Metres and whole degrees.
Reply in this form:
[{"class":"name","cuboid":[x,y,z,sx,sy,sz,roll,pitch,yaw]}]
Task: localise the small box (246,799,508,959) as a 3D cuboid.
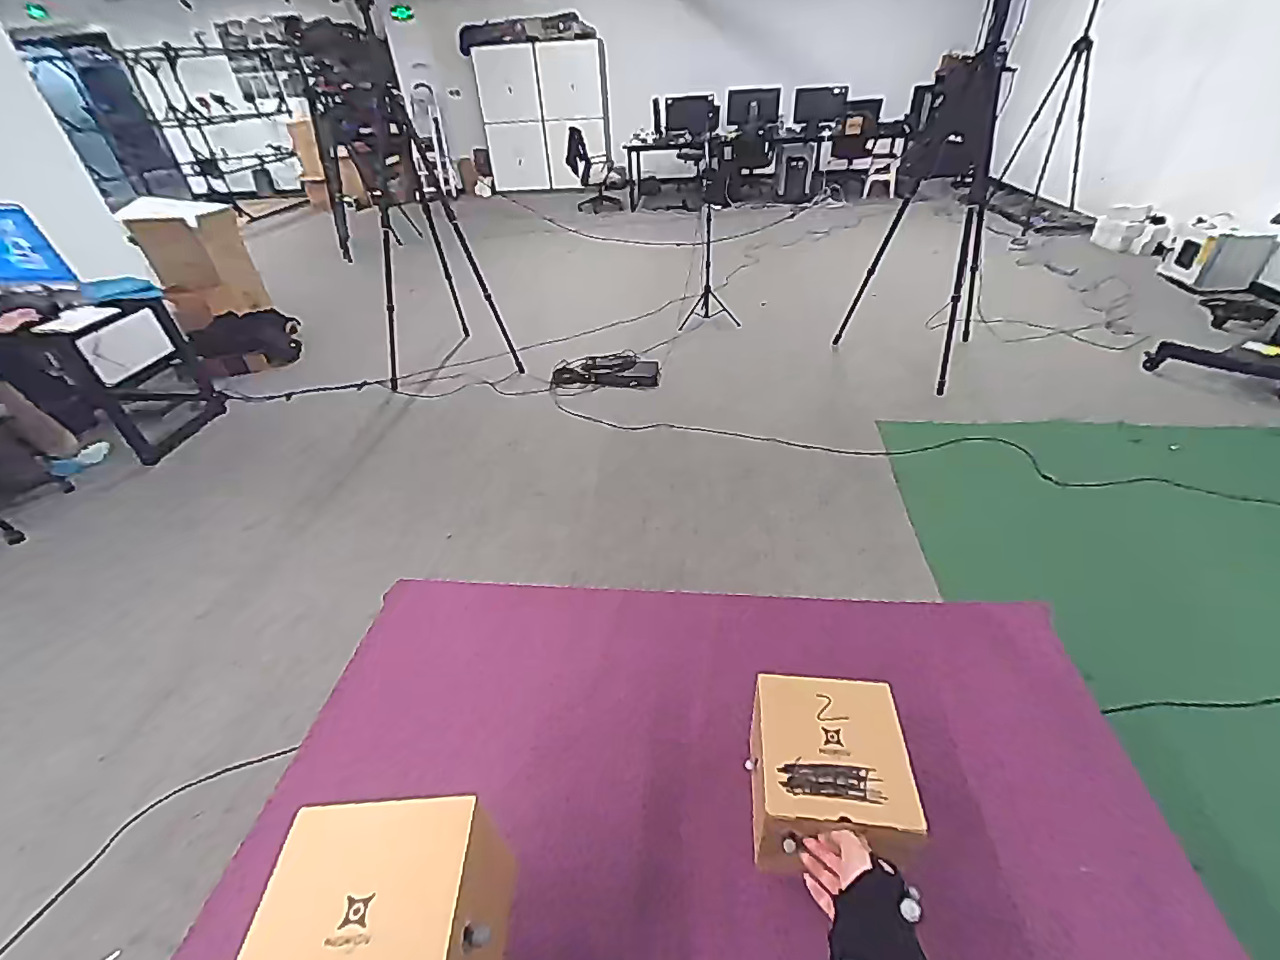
[{"class":"small box","cuboid":[-0.225,0.422,0.492,0.168,0.176,0.179,-4,38,0]}]
